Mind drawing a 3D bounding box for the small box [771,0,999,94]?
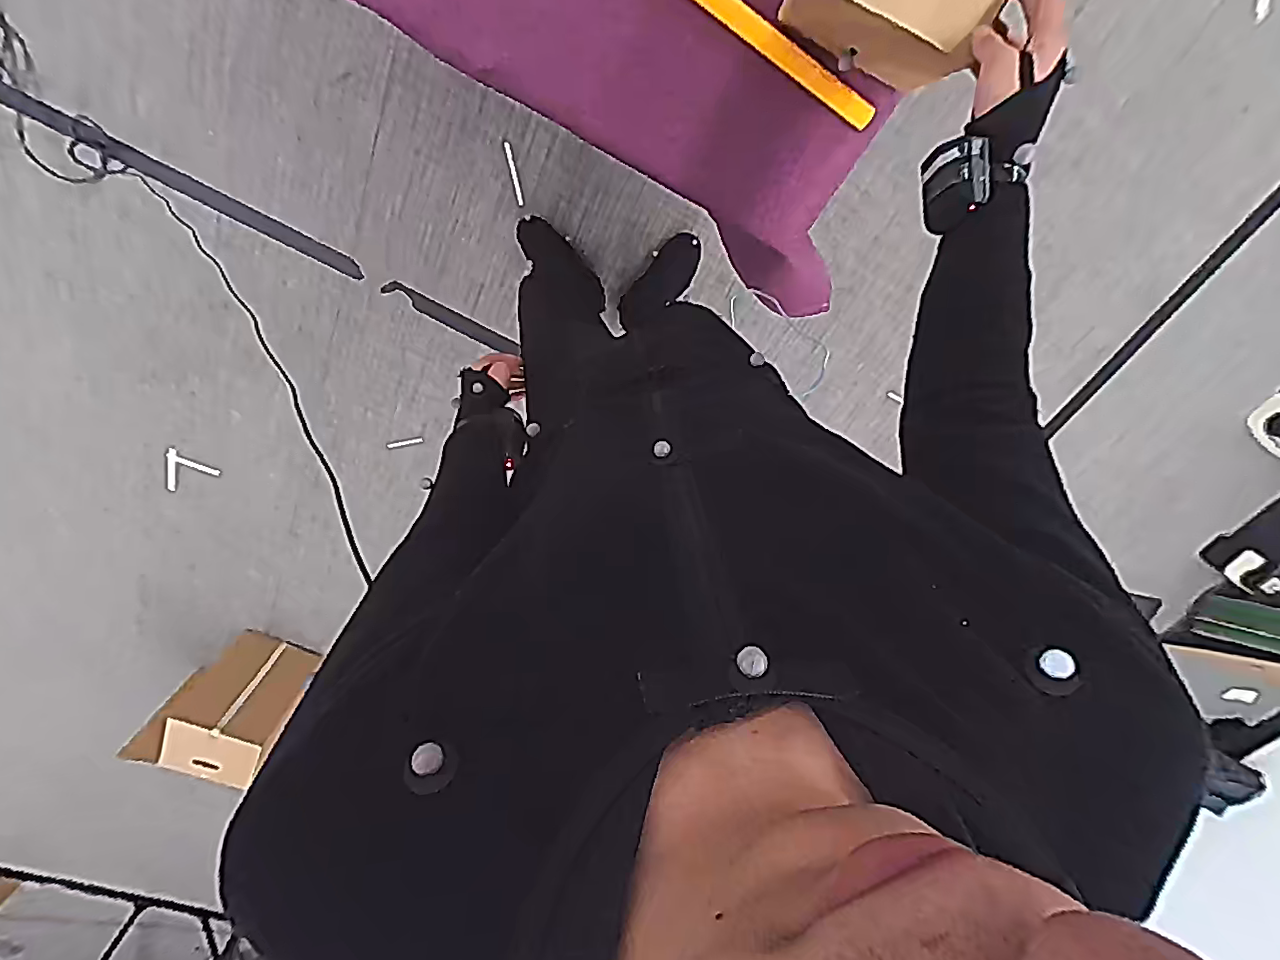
[{"bbox_3d":[0.253,-0.512,0.532,0.179,0.176,0.168,22,119,-9],"label":"small box"}]
